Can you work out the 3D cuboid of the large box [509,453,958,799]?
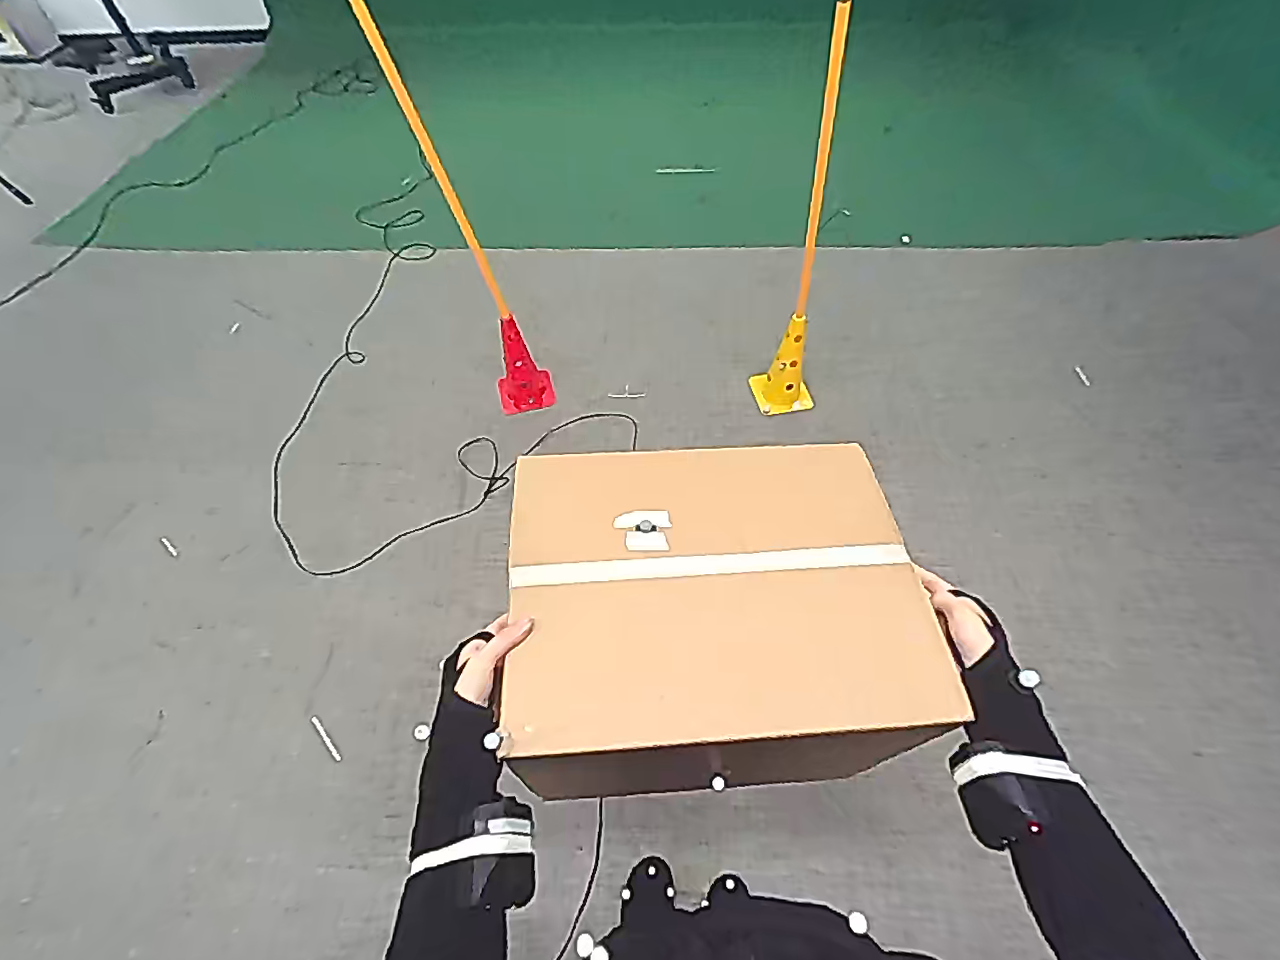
[{"bbox_3d":[0.075,0.190,0.672,0.408,0.320,0.320,-3,53,-3],"label":"large box"}]
